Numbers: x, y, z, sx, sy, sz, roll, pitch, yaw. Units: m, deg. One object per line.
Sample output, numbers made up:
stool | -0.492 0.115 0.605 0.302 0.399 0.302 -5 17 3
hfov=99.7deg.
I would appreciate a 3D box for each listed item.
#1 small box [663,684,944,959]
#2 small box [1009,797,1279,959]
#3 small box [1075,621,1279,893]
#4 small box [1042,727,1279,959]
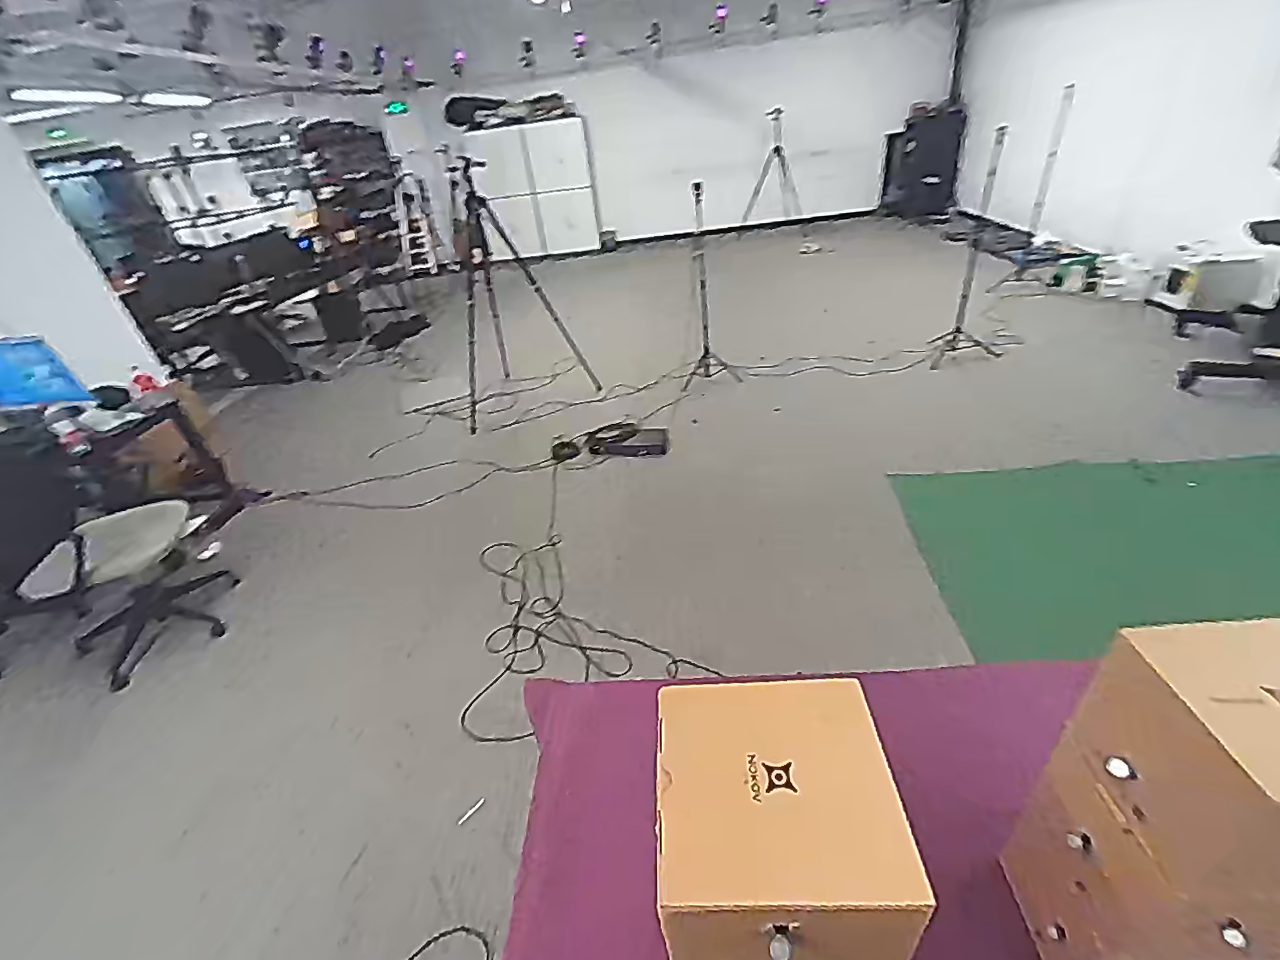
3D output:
small box | 0.114 0.291 0.447 0.179 0.176 0.168 -5 35 6
small box | 0.595 0.522 0.672 0.179 0.176 0.168 -3 34 7
small box | 0.557 0.250 0.493 0.179 0.176 0.168 -5 34 6
small box | 0.576 0.387 0.583 0.179 0.176 0.168 -5 35 7
